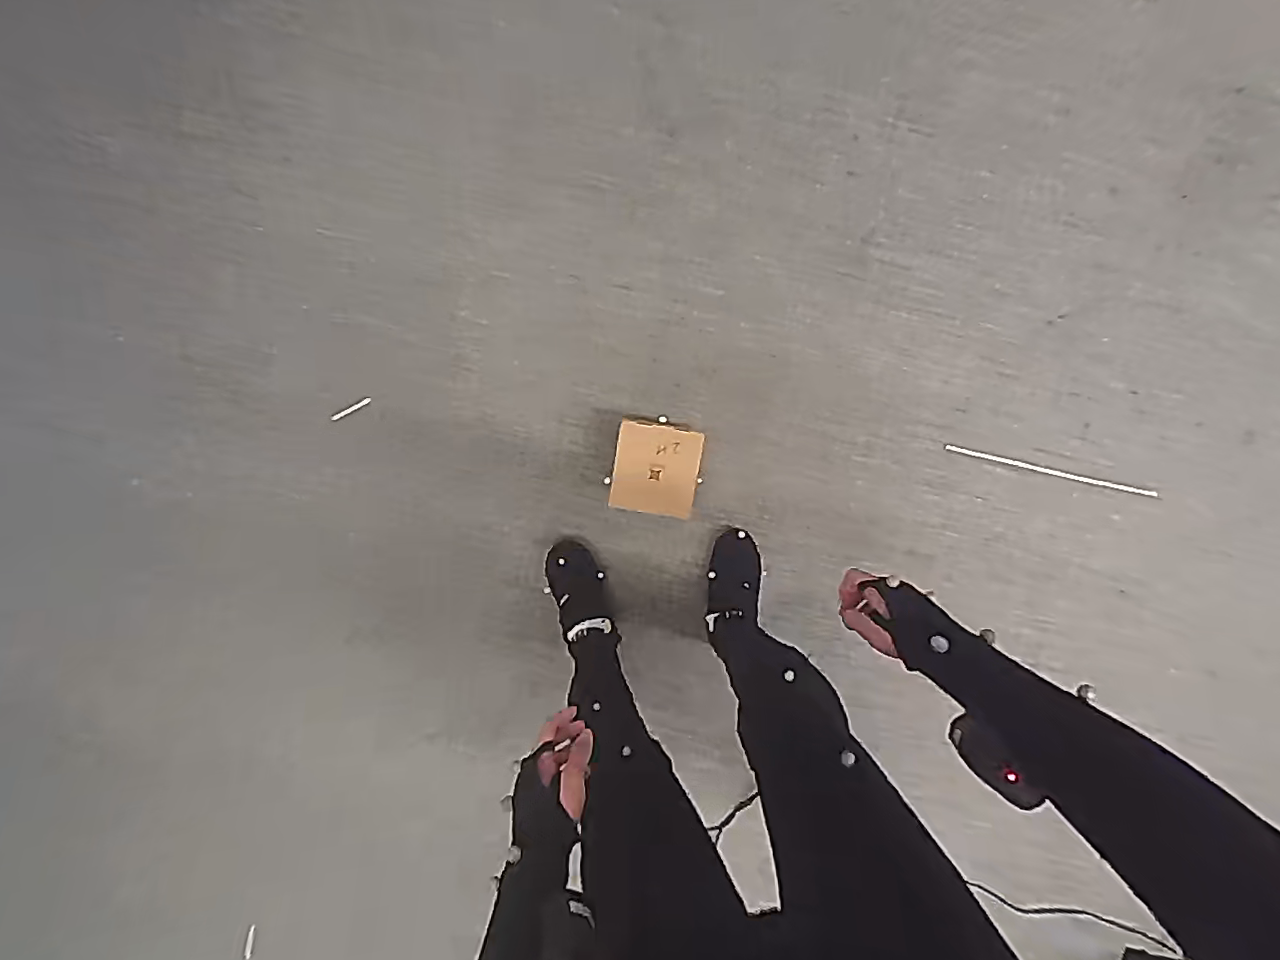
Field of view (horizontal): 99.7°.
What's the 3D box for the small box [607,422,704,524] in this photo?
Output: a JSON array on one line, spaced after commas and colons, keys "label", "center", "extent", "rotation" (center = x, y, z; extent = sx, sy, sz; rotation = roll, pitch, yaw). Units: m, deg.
[{"label": "small box", "center": [0.031, -0.021, 1.130], "extent": [0.168, 0.176, 0.179], "rotation": [9, 98, -1]}]
